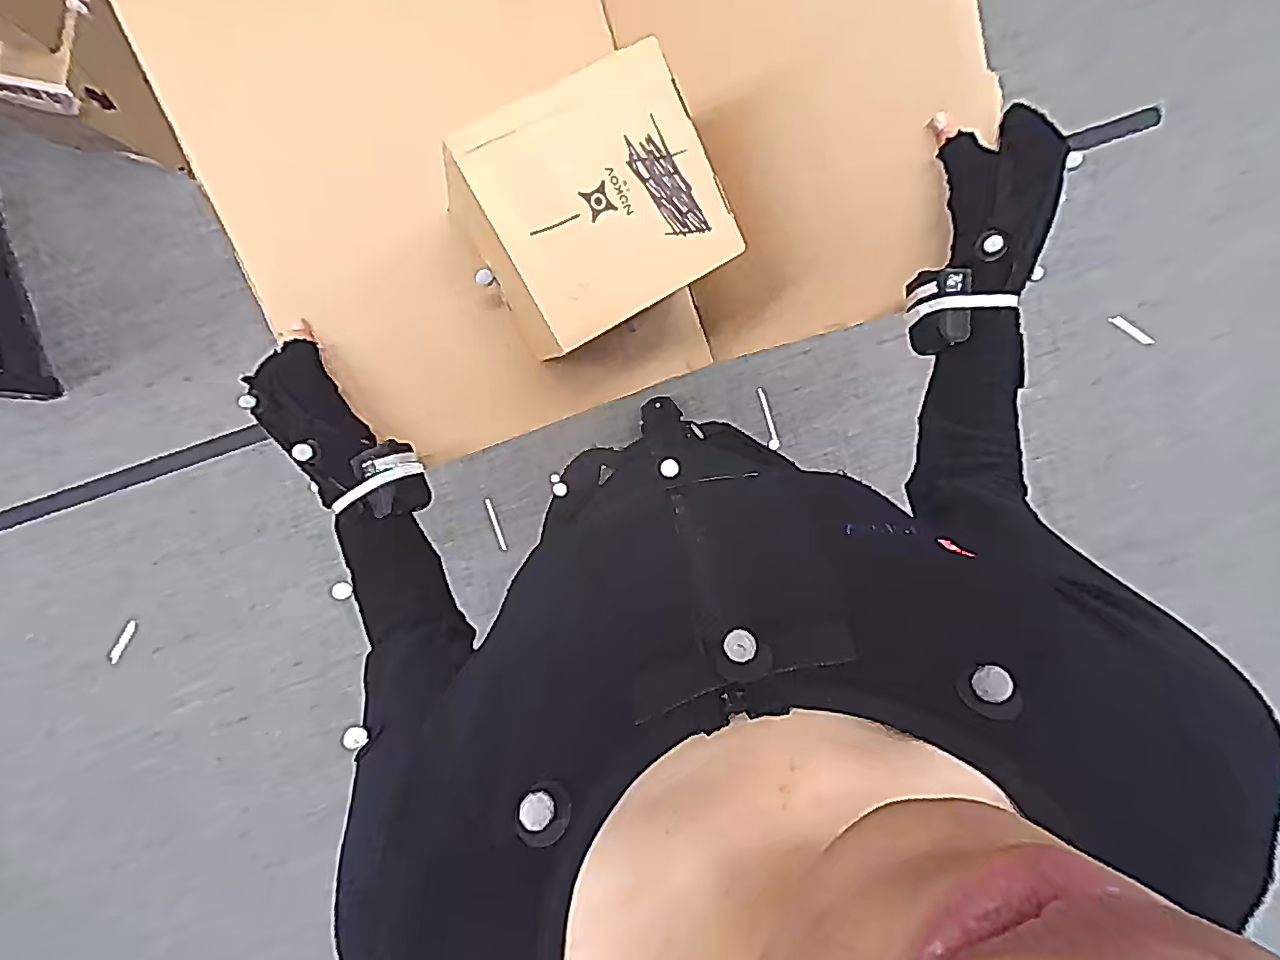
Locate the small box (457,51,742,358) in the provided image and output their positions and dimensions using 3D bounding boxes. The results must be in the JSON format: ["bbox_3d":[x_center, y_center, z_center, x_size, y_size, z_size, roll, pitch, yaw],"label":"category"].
[{"bbox_3d":[-0.046,-0.224,0.488,0.179,0.176,0.168,-32,107,-9],"label":"small box"}]
